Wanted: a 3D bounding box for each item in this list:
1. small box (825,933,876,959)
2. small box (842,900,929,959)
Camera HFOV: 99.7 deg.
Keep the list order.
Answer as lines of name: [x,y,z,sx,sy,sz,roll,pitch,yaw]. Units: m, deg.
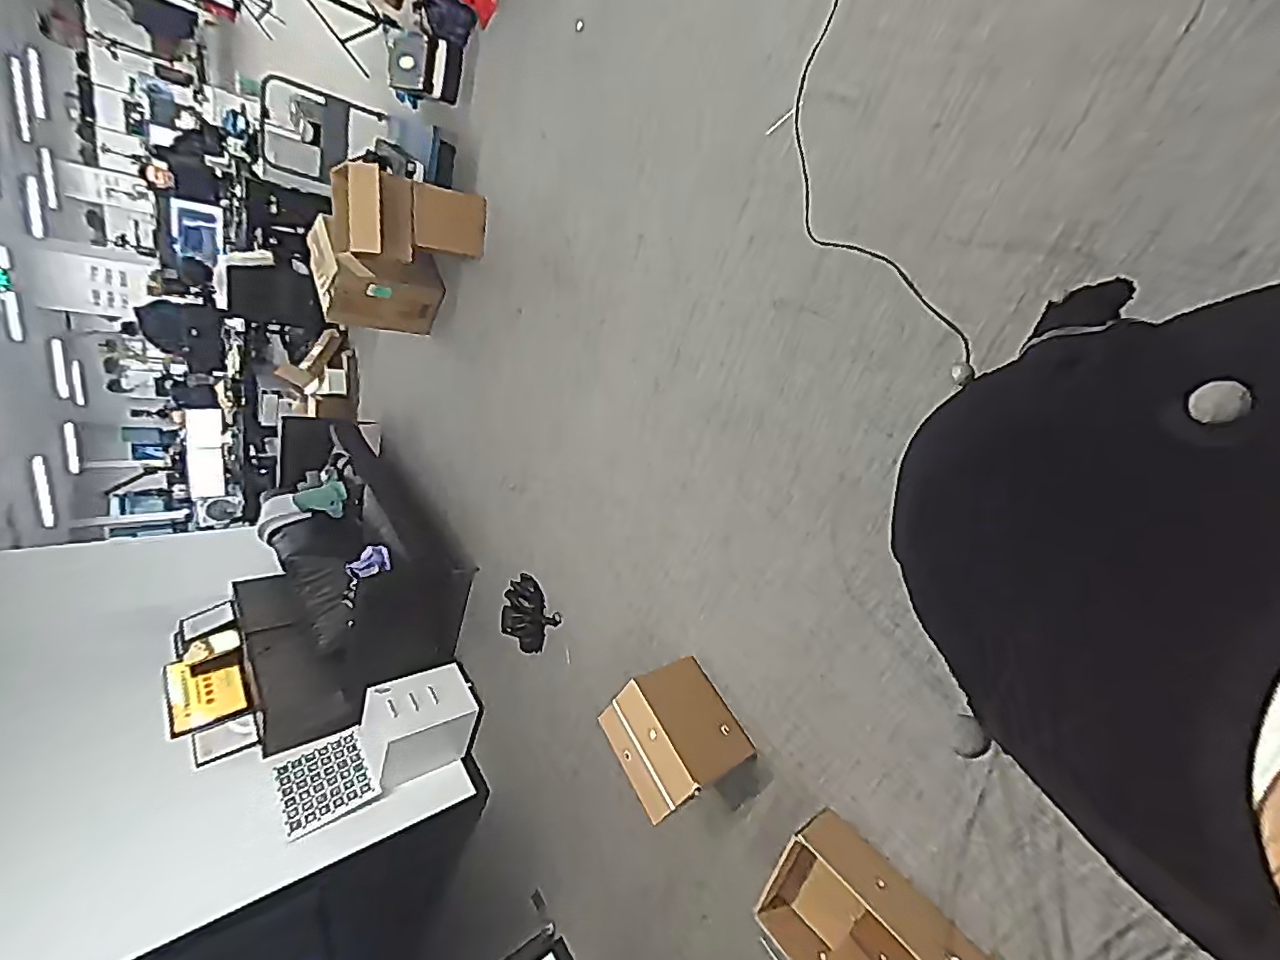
small box: [0.535,1.320,1.371,0.179,0.176,0.168,39,121,40]
small box: [0.655,1.321,1.486,0.179,0.176,0.168,36,118,41]
